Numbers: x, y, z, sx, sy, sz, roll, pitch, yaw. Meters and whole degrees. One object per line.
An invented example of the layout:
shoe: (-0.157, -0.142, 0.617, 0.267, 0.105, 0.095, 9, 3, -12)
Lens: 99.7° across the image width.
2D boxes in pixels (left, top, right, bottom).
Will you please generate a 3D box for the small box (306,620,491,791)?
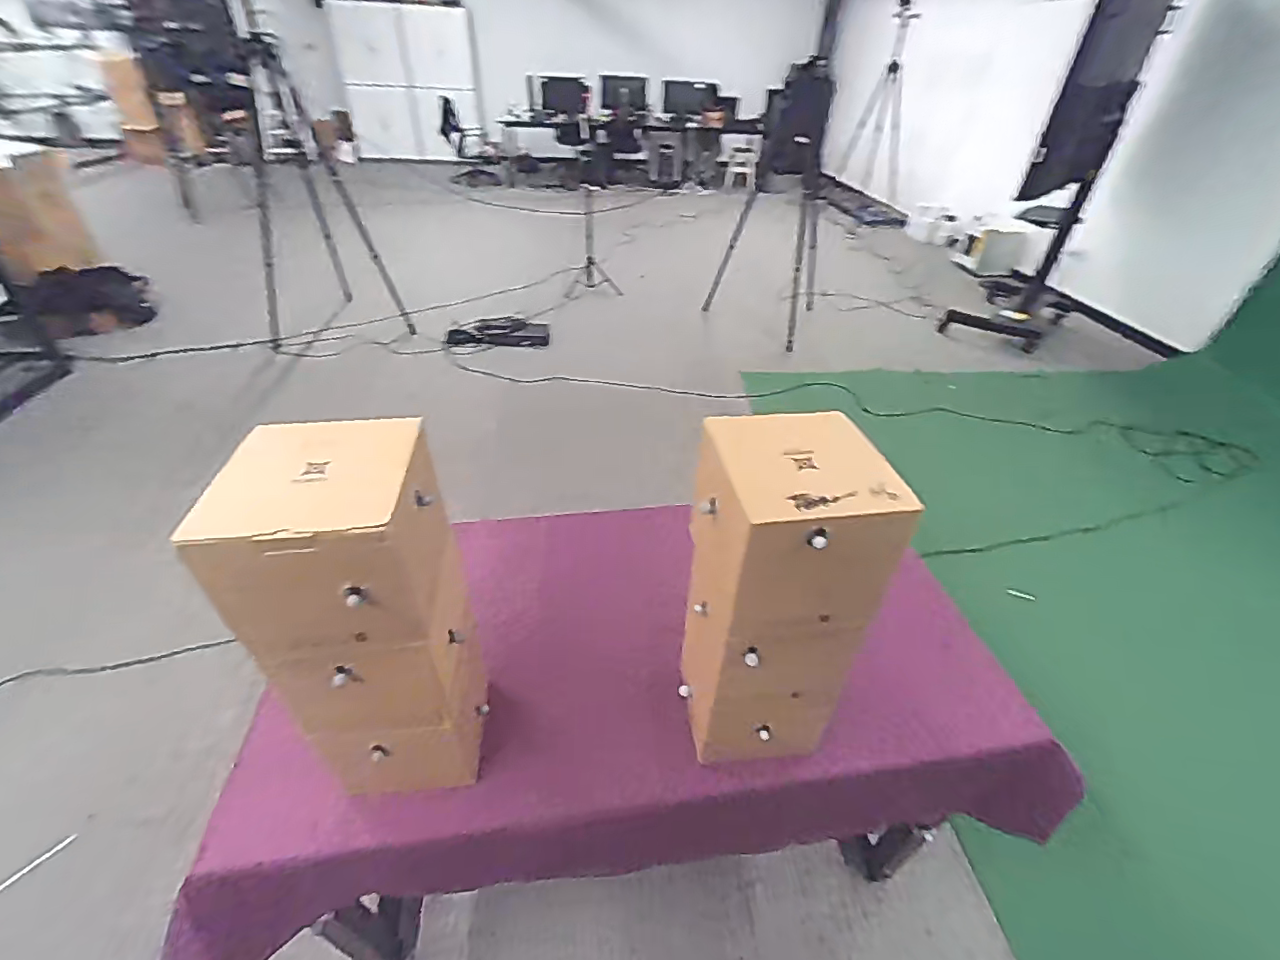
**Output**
small box: (-0.317, 0.312, 0.754, 0.179, 0.176, 0.168, -2, 39, -5)

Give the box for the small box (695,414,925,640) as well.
small box: (0.161, 0.046, 0.584, 0.168, 0.176, 0.179, -5, 37, -7)

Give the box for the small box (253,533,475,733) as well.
small box: (-0.307, 0.183, 0.653, 0.179, 0.176, 0.168, -3, 39, -5)

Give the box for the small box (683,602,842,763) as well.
small box: (0.167, 0.296, 0.800, 0.179, 0.176, 0.168, -3, 38, -5)

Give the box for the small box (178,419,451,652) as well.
small box: (-0.299, 0.057, 0.550, 0.168, 0.176, 0.179, -3, 38, -7)
